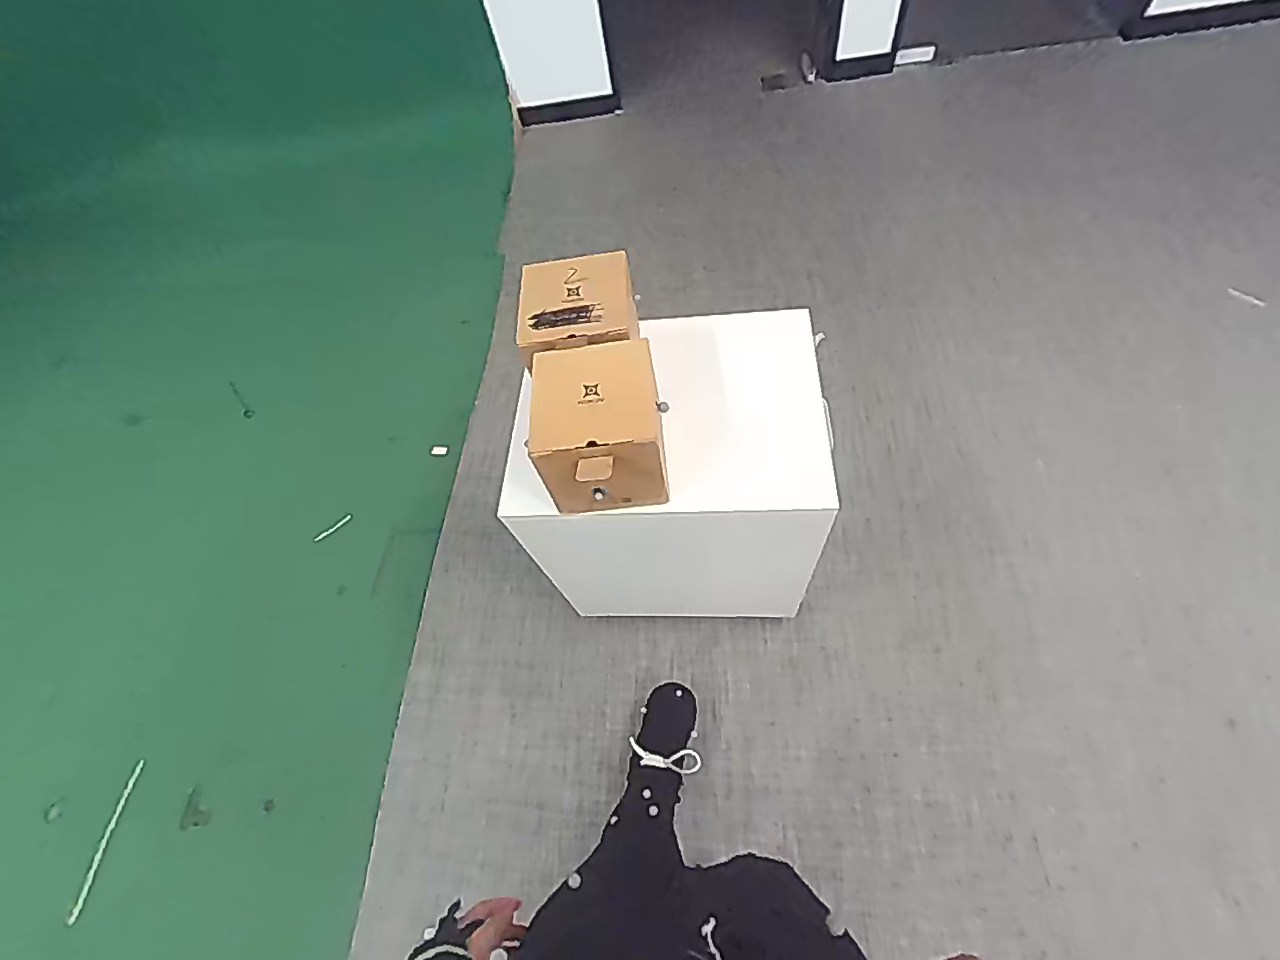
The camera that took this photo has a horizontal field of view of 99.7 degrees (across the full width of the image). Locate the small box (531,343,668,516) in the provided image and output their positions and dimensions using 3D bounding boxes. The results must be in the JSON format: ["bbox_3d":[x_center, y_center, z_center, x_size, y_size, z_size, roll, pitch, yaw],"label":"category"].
[{"bbox_3d":[-0.051,-0.068,0.779,0.168,0.176,0.179,-7,59,4],"label":"small box"}]
